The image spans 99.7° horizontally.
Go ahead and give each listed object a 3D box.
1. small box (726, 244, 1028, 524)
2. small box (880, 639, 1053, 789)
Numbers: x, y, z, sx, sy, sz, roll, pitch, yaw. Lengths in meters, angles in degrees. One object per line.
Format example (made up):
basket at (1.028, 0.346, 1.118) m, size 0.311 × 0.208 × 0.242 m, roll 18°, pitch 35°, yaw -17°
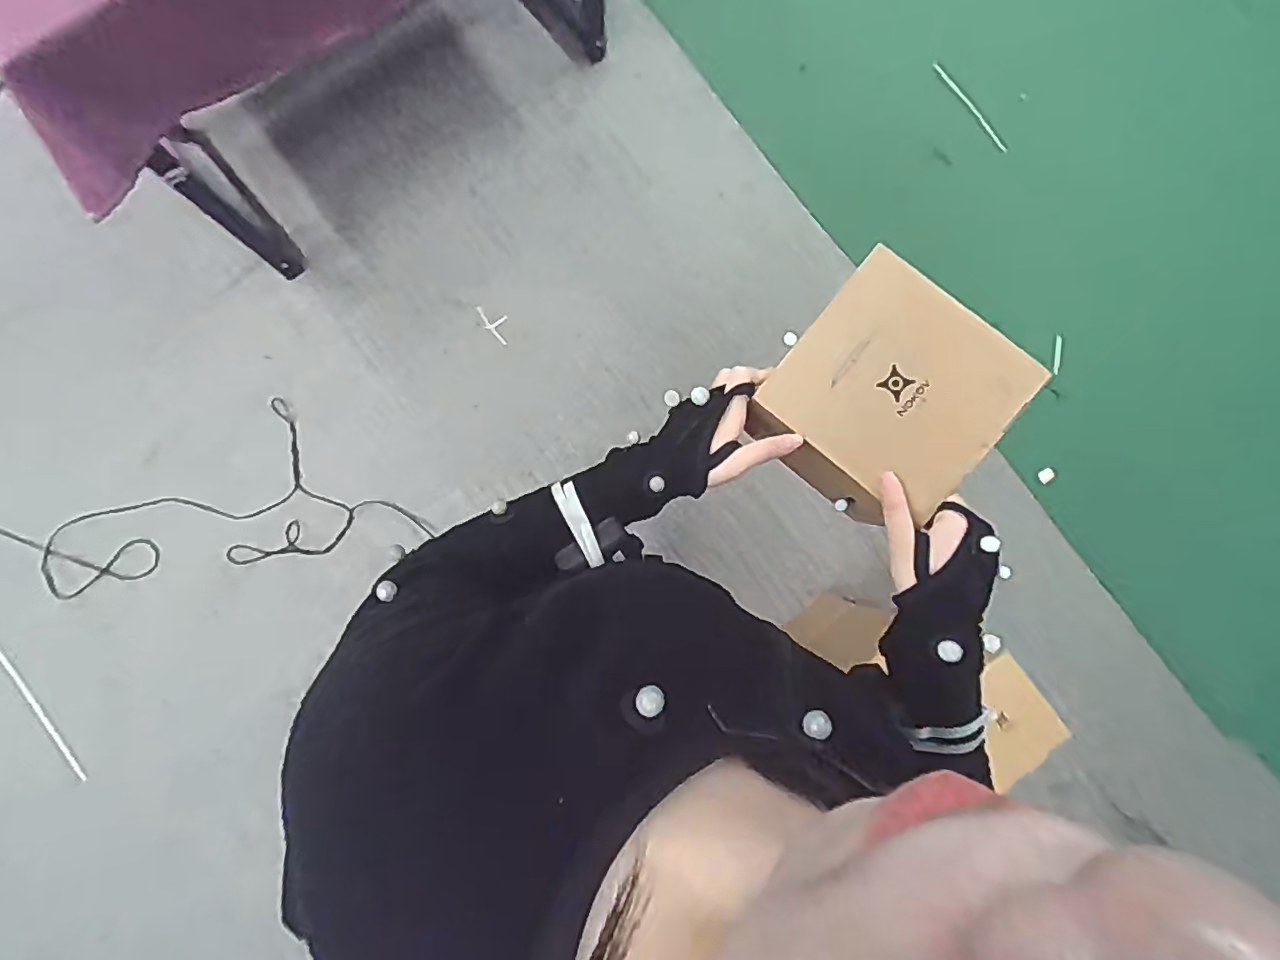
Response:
small box at (0.203, -0.080, 0.523) m, size 0.179 × 0.176 × 0.168 m, roll 41°, pitch 92°, yaw 4°
small box at (0.585, 0.412, 0.994) m, size 0.168 × 0.176 × 0.179 m, roll -35°, pitch 87°, yaw -6°
